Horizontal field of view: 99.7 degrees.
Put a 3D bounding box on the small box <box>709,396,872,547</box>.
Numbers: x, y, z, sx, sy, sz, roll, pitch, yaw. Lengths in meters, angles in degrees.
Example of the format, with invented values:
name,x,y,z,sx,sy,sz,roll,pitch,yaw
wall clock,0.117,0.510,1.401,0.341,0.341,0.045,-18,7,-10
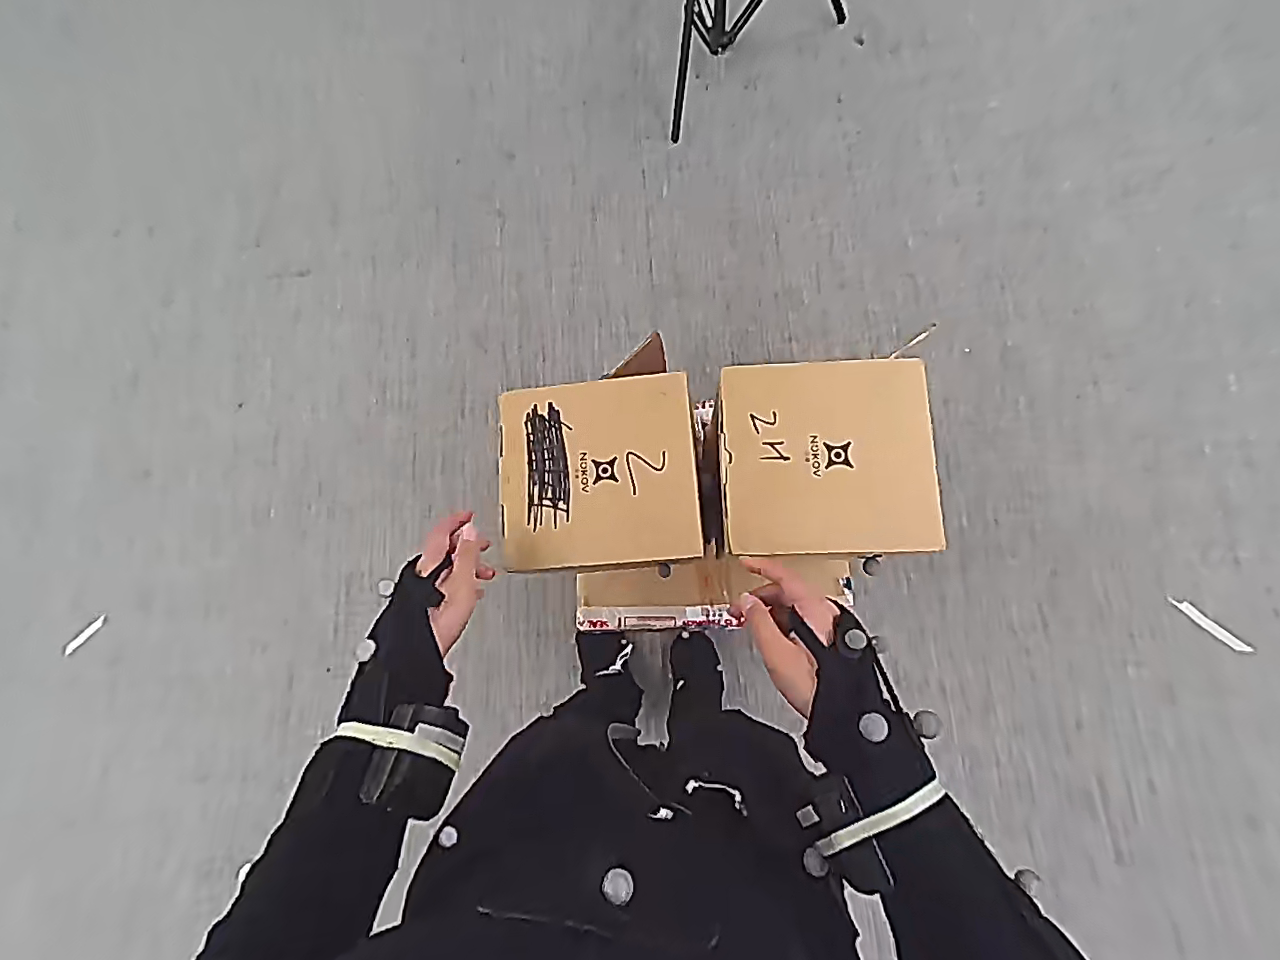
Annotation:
name,x,y,z,sx,sy,sz,roll,pitch,yaw
small box,0.180,-0.002,0.694,0.179,0.176,0.168,1,80,5
